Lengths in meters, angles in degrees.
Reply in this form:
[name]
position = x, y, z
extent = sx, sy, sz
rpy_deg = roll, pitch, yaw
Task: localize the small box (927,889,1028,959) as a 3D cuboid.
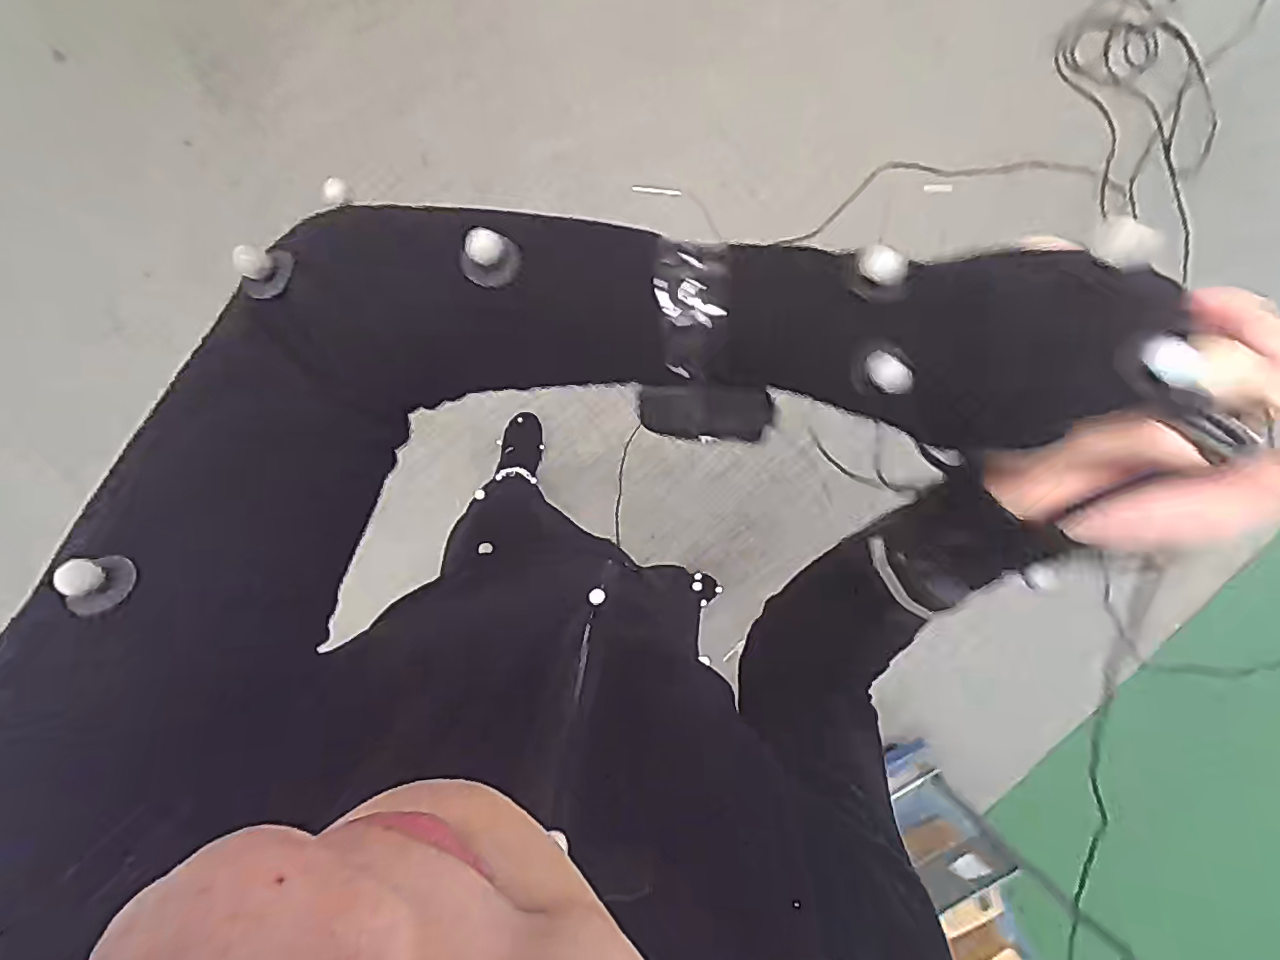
[small box]
position = 0.957, 1.310, 1.527
extent = 0.168, 0.176, 0.179
rpy_deg = -32, 95, -2
